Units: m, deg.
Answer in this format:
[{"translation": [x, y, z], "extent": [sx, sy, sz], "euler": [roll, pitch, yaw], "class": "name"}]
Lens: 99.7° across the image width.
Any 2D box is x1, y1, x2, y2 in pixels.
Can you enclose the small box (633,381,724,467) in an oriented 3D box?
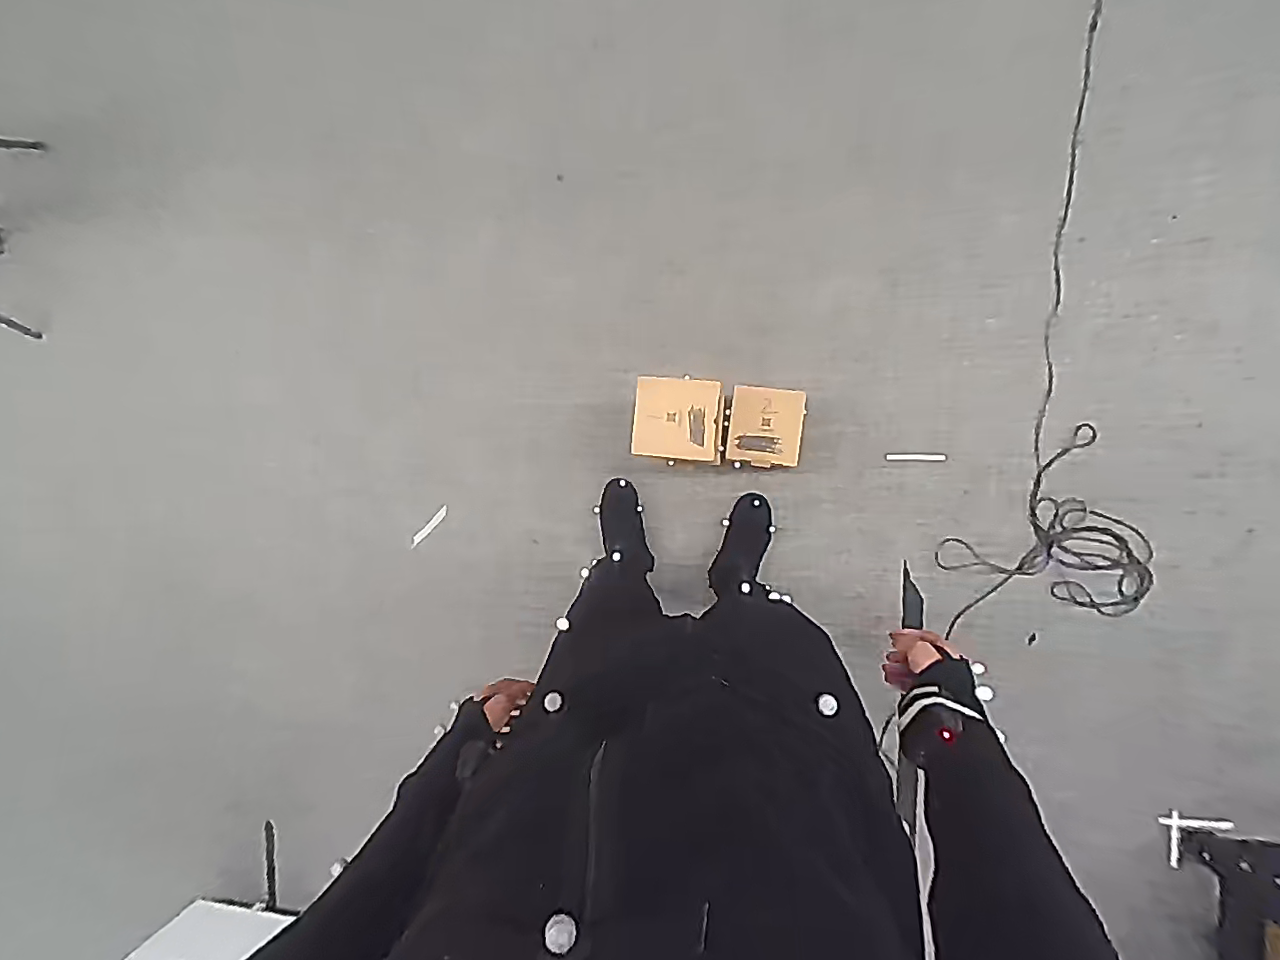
[{"translation": [0.090, -0.118, 1.191], "extent": [0.179, 0.176, 0.168], "euler": [6, 92, 10], "class": "small box"}]
